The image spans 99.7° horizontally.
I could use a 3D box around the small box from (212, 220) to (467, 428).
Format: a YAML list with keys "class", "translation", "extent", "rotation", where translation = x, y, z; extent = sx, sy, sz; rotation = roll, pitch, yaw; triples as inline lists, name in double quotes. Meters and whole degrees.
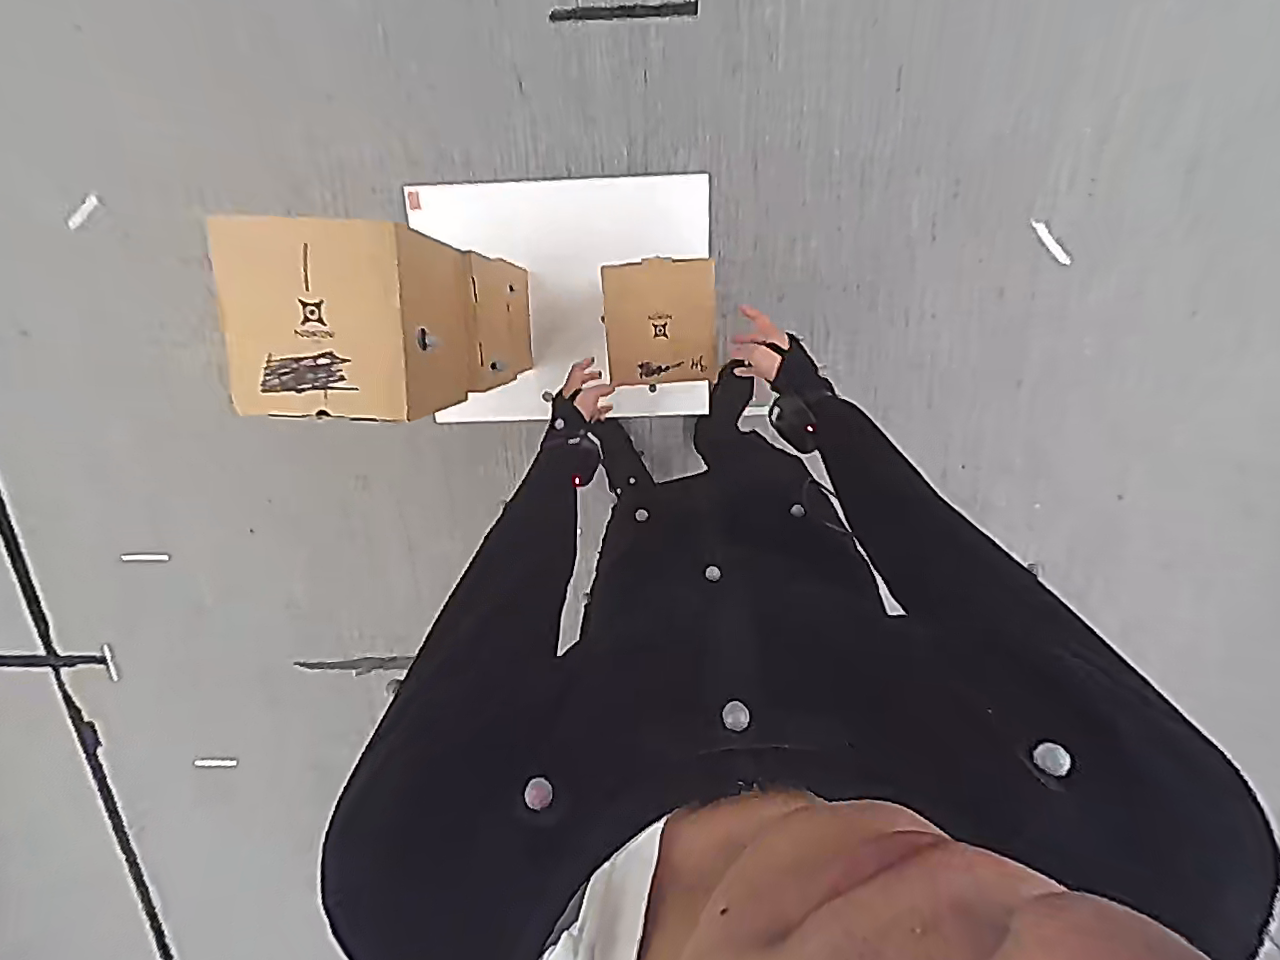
- class: "small box"
  translation: [-0.287, -0.157, 0.561]
  extent: [0.168, 0.176, 0.179]
  rotation: [2, 104, 1]

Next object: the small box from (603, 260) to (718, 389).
- class: "small box"
  translation: [0.034, -0.245, 0.871]
  extent: [0.168, 0.176, 0.179]
  rotation: [-3, 105, 4]

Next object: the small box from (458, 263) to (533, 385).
- class: "small box"
  translation: [-0.274, -0.250, 0.877]
  extent: [0.168, 0.176, 0.179]
  rotation: [-1, 105, 1]
